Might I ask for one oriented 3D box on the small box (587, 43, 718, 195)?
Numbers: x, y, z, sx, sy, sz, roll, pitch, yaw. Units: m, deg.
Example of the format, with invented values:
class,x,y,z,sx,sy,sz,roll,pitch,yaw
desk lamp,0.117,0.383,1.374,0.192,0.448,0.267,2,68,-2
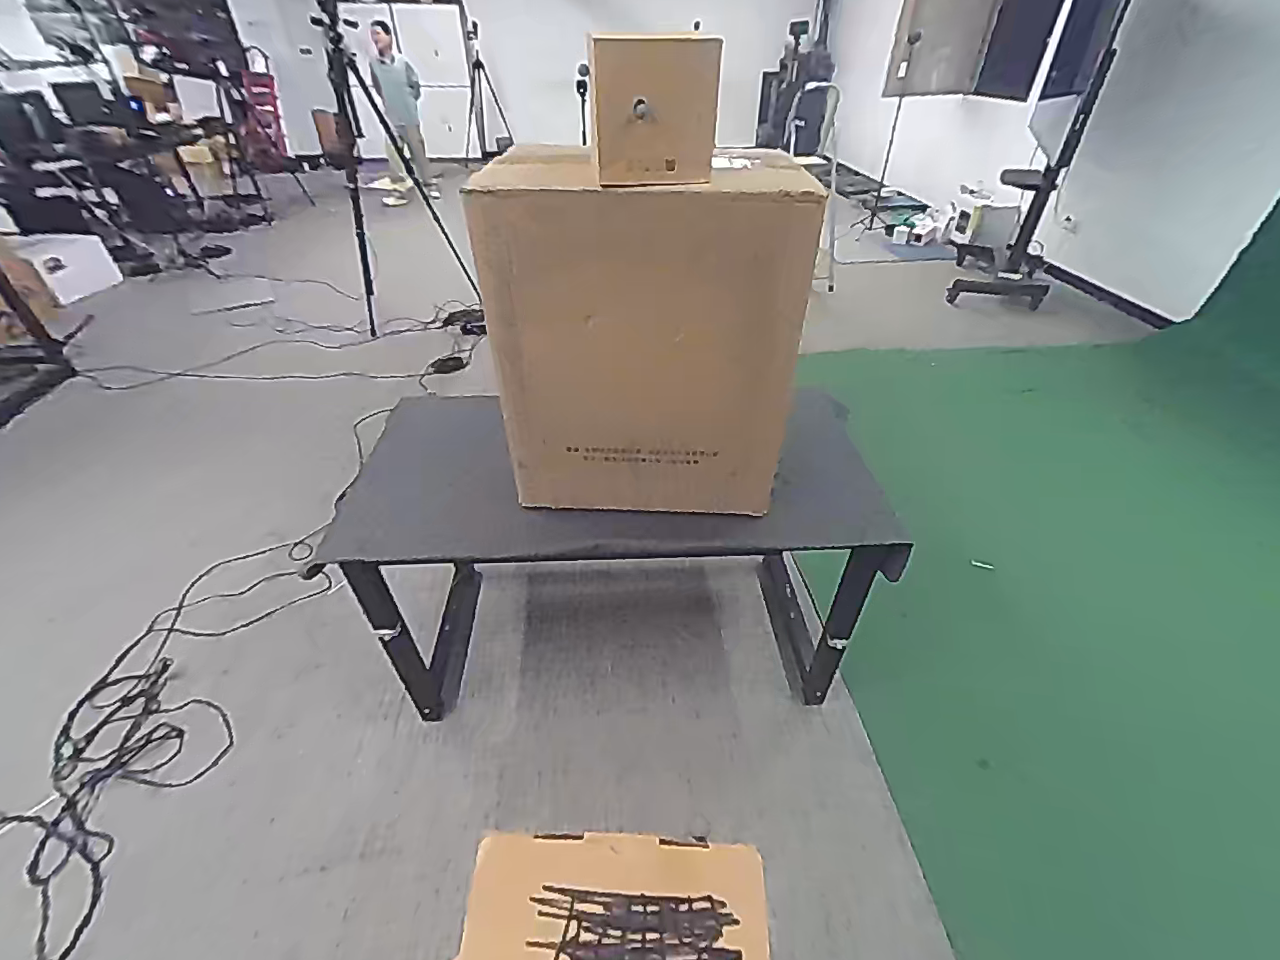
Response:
class,x,y,z,sx,sy,sz,roll,pitch,yaw
small box,0.013,-0.524,0.789,0.168,0.176,0.179,-4,41,-5
